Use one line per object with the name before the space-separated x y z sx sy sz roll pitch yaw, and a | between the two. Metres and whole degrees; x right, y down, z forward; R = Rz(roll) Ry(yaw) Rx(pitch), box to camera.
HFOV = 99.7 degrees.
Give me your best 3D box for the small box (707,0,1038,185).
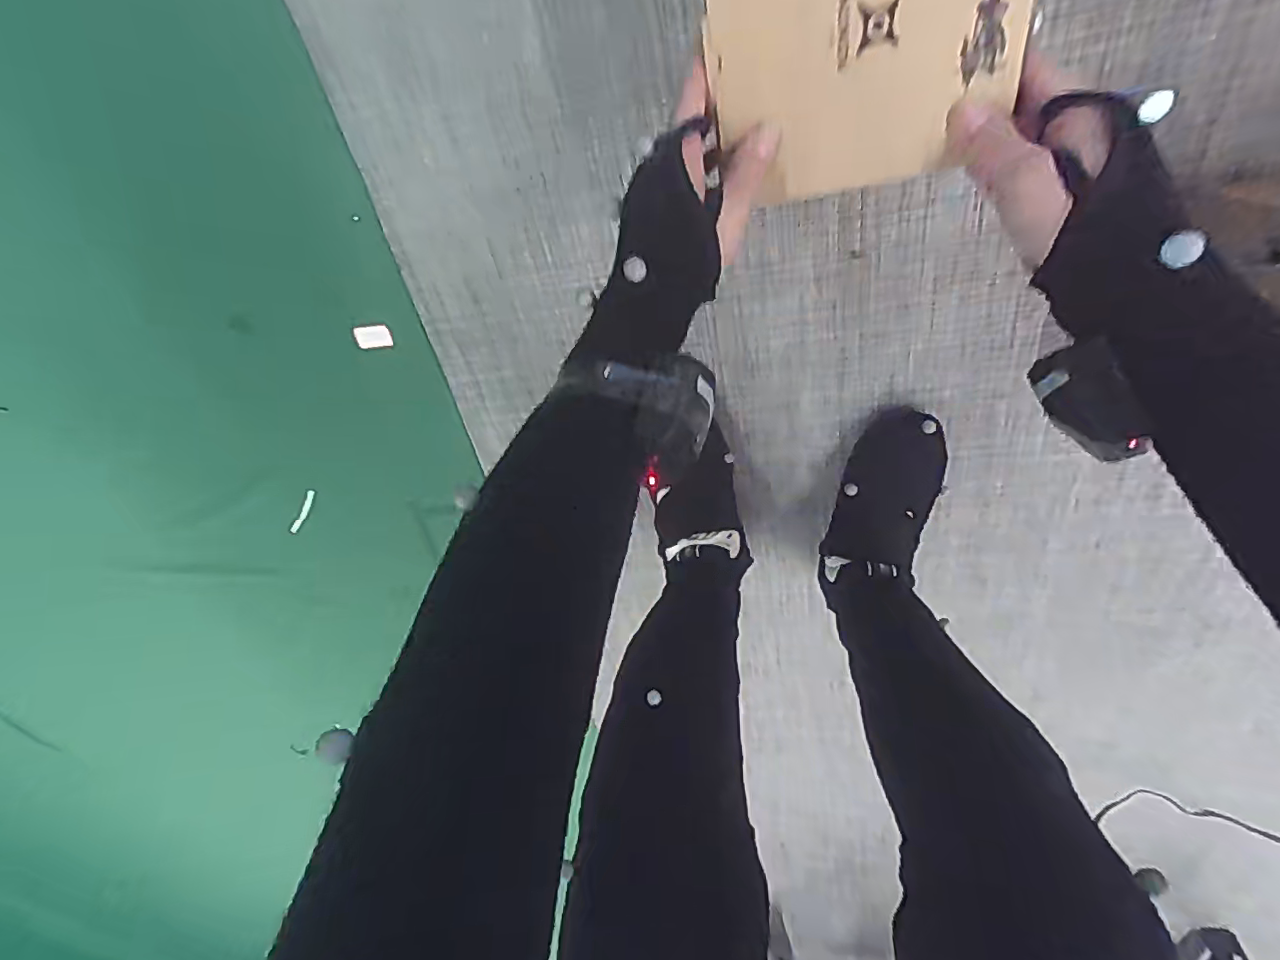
small box | 0.138 -0.314 0.359 0.179 0.176 0.168 -3 129 13
